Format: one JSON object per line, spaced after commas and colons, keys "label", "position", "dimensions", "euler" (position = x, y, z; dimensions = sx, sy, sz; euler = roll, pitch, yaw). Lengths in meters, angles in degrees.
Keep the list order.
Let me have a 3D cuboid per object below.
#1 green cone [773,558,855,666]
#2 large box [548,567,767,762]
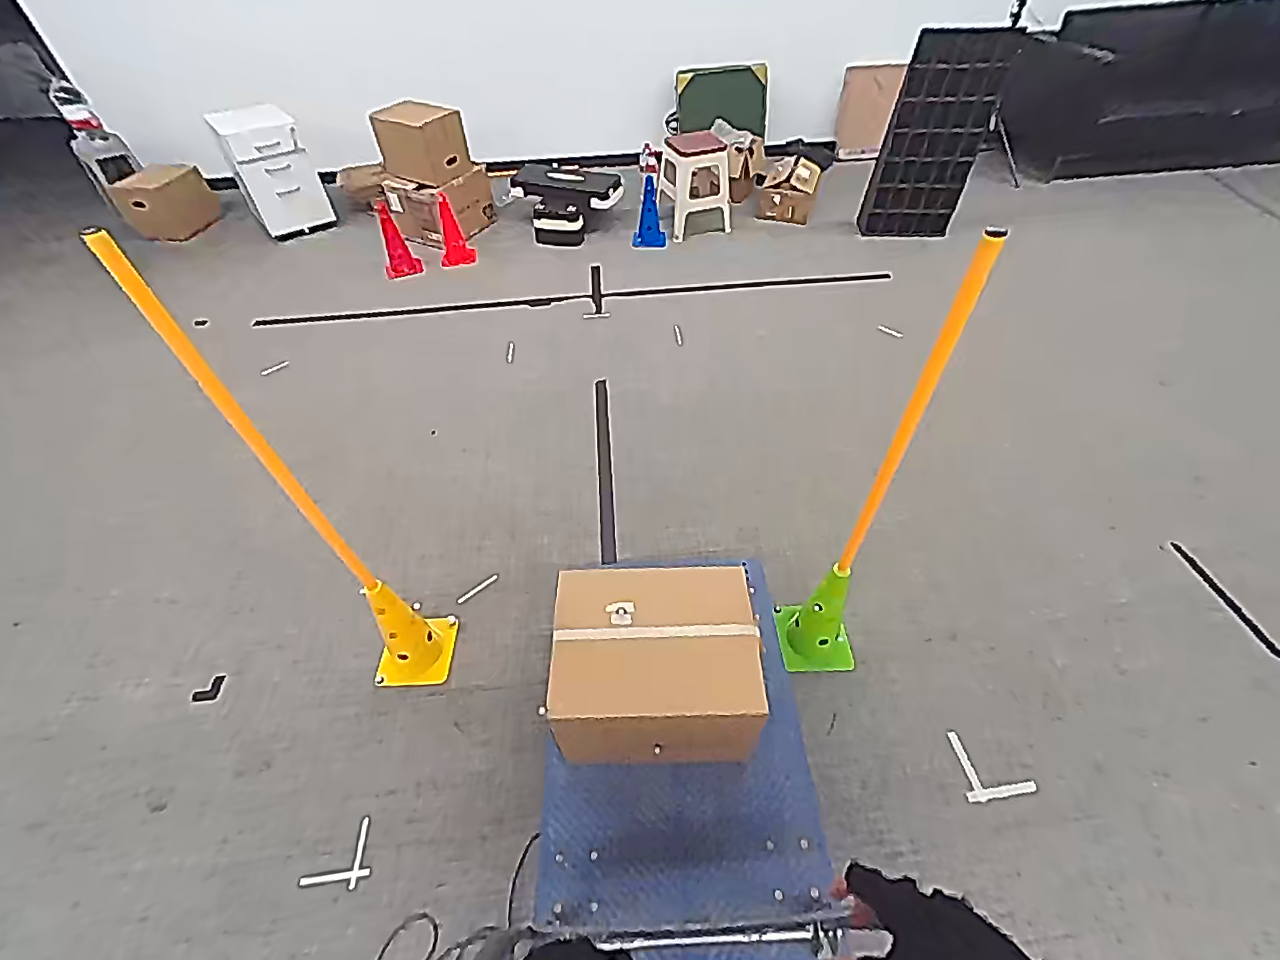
{"label": "green cone", "position": [0.496, 0.327, 1.435], "dimensions": [0.202, 0.368, 0.200], "euler": [-1, 48, -1]}
{"label": "large box", "position": [0.035, 0.410, 1.185], "dimensions": [0.408, 0.320, 0.320], "euler": [-2, 48, 1]}
